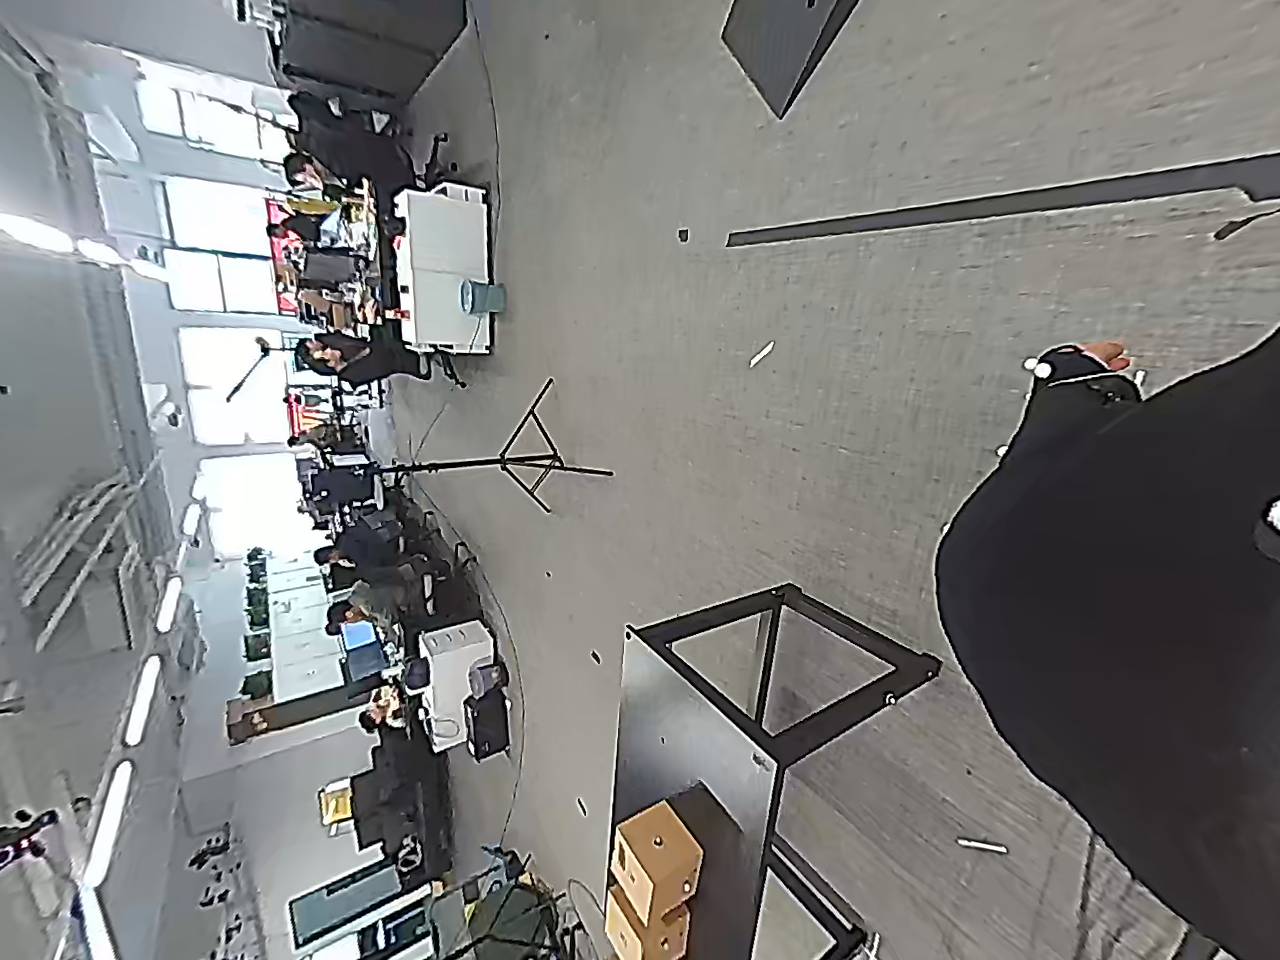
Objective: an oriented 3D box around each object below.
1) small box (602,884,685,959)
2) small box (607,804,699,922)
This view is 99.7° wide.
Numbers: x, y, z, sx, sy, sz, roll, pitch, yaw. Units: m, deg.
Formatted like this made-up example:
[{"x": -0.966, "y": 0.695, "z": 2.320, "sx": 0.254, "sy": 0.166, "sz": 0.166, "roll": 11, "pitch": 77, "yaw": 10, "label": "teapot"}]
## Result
[{"x": 0.009, "y": 1.249, "z": 1.537, "sx": 0.179, "sy": 0.176, "sz": 0.168, "roll": 25, "pitch": 116, "yaw": 52, "label": "small box"}, {"x": 0.033, "y": 1.014, "z": 1.454, "sx": 0.179, "sy": 0.176, "sz": 0.168, "roll": 31, "pitch": 121, "yaw": 48, "label": "small box"}]
